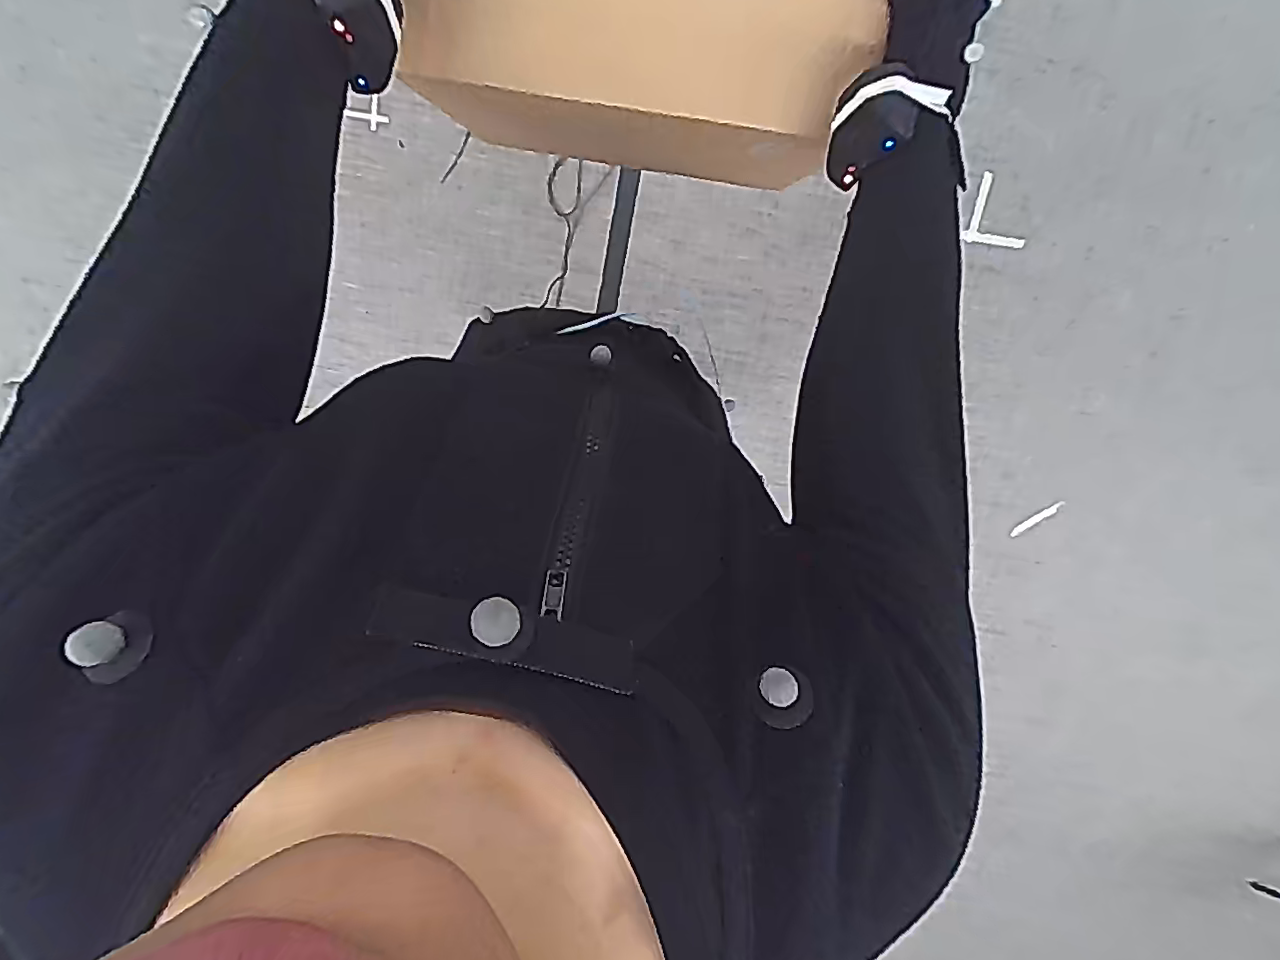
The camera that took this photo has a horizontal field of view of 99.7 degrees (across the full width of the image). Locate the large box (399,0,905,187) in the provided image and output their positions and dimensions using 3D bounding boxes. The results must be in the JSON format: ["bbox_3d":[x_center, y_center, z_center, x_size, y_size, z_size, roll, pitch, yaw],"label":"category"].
[{"bbox_3d":[0.020,-0.506,0.534,0.408,0.320,0.320,8,113,-2],"label":"large box"}]
